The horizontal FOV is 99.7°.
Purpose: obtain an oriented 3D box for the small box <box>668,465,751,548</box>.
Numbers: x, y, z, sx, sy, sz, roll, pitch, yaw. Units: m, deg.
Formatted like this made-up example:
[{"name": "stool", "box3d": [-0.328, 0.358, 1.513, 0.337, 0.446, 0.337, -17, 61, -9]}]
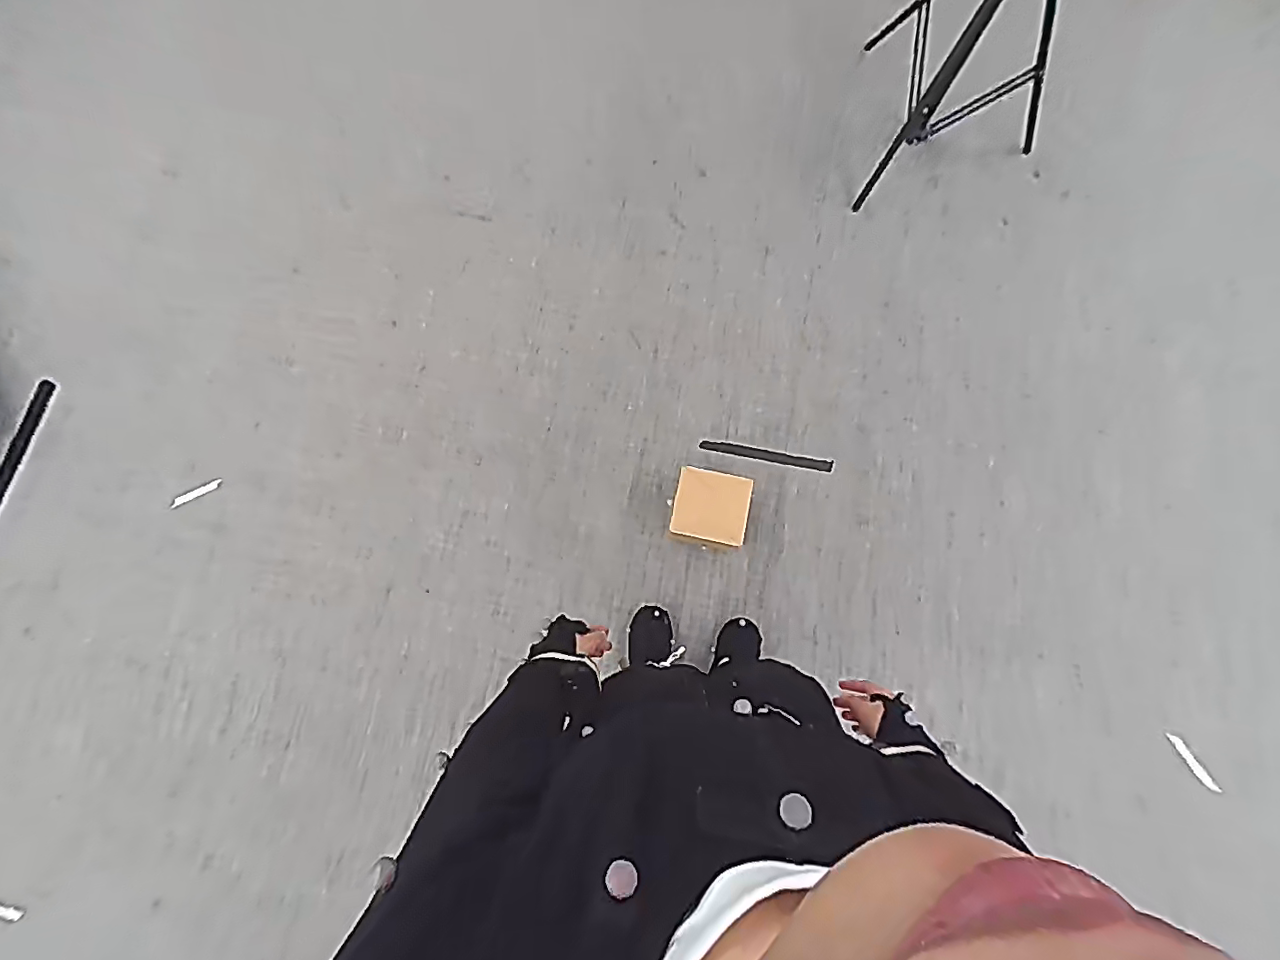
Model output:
[{"name": "small box", "box3d": [0.172, 0.071, 1.352, 0.179, 0.176, 0.168, 12, 79, 2]}]
